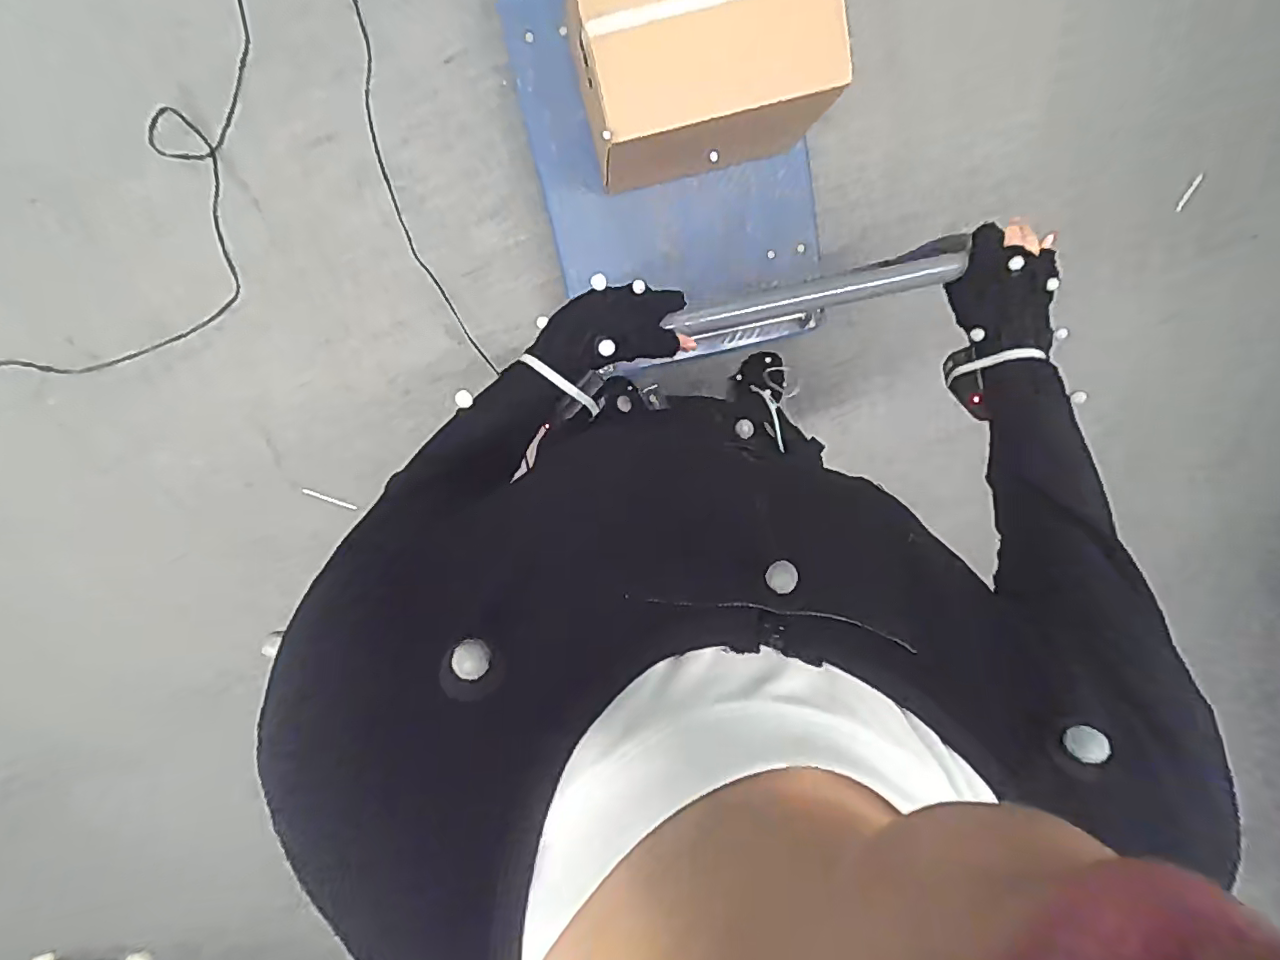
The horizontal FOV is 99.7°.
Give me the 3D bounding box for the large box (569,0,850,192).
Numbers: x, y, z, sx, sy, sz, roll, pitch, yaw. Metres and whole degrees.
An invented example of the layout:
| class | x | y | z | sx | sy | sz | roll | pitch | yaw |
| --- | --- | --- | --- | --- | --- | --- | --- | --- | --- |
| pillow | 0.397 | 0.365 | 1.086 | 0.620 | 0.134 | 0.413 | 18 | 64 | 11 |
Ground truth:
| class | x | y | z | sx | sy | sz | roll | pitch | yaw |
| --- | --- | --- | --- | --- | --- | --- | --- | --- | --- |
| large box | 0.103 | -0.772 | 0.980 | 0.408 | 0.320 | 0.320 | -15 | 103 | 0 |
